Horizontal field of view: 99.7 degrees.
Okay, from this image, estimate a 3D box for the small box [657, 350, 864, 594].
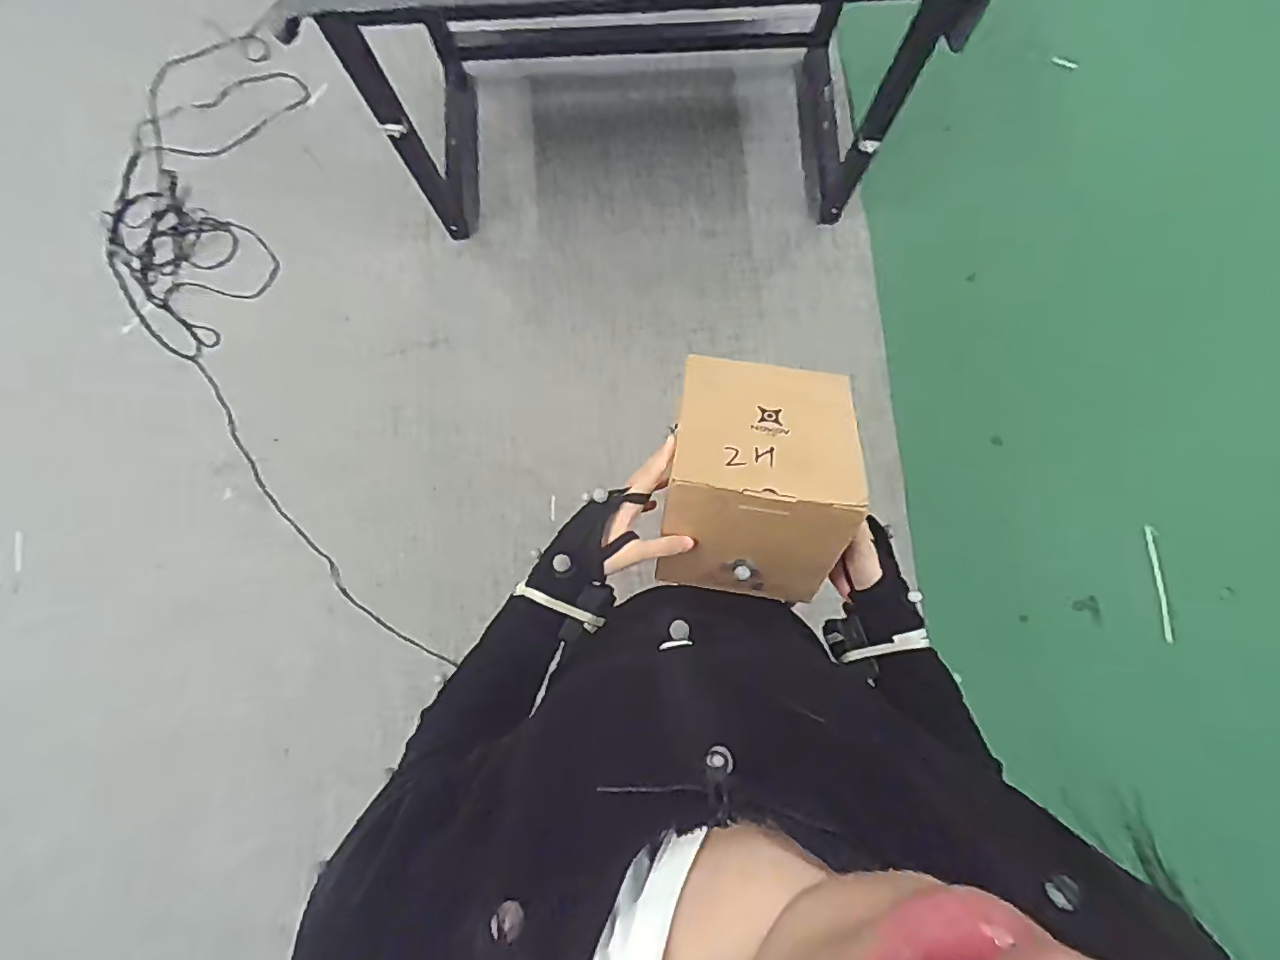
[{"bbox_3d":[0.111,-0.007,0.564,0.168,0.176,0.179,8,51,2],"label":"small box"}]
